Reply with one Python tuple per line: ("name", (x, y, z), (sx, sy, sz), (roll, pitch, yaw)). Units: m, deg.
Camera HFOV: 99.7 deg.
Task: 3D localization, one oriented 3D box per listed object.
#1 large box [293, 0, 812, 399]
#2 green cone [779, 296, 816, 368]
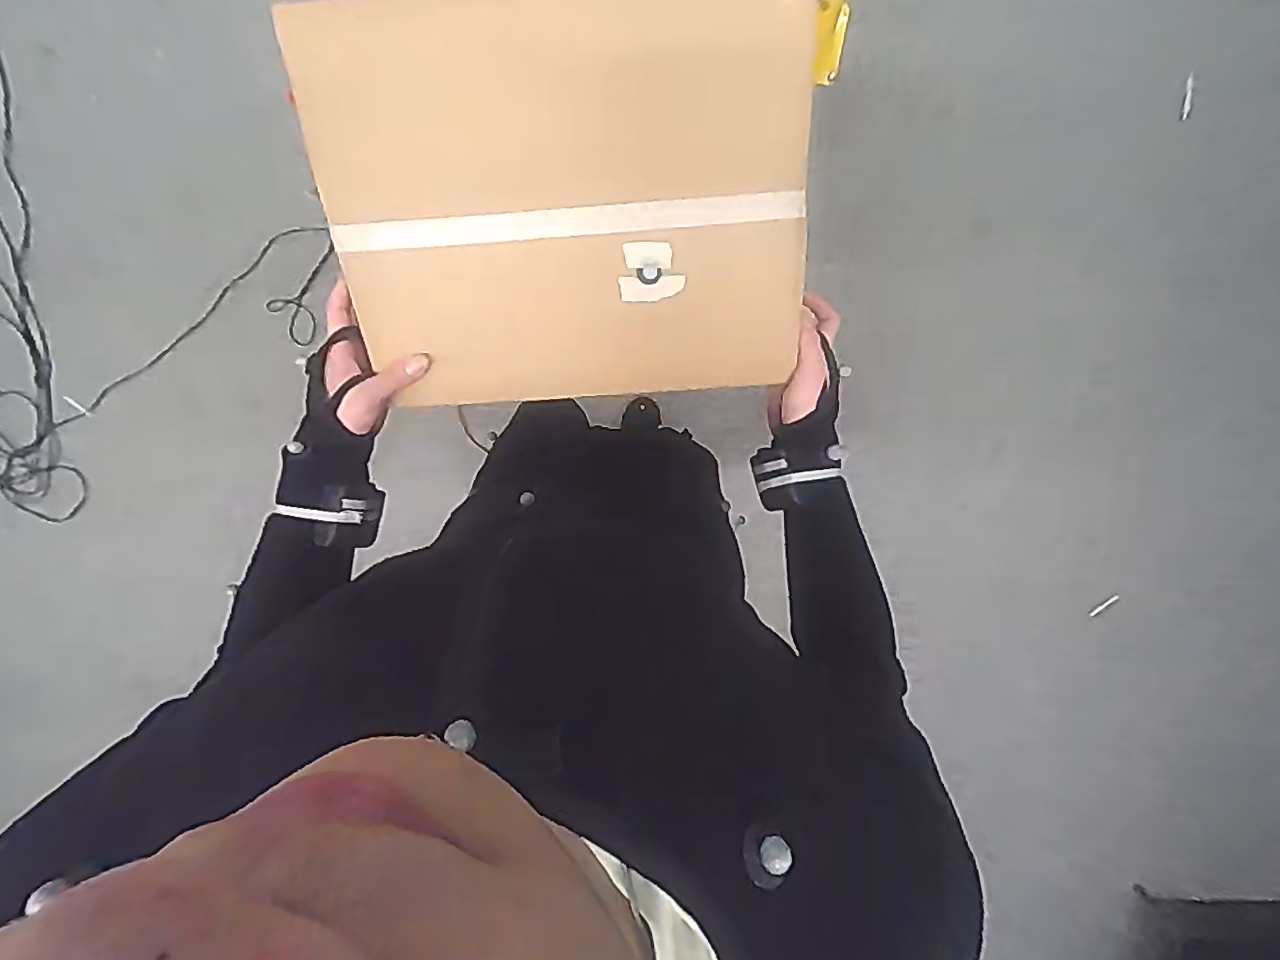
("large box", (-0.061, -0.297, 0.603), (0.408, 0.320, 0.320), (-4, 117, 0))
("green cone", (0.376, -0.404, 1.368), (0.200, 0.368, 0.202), (6, 98, 0))
